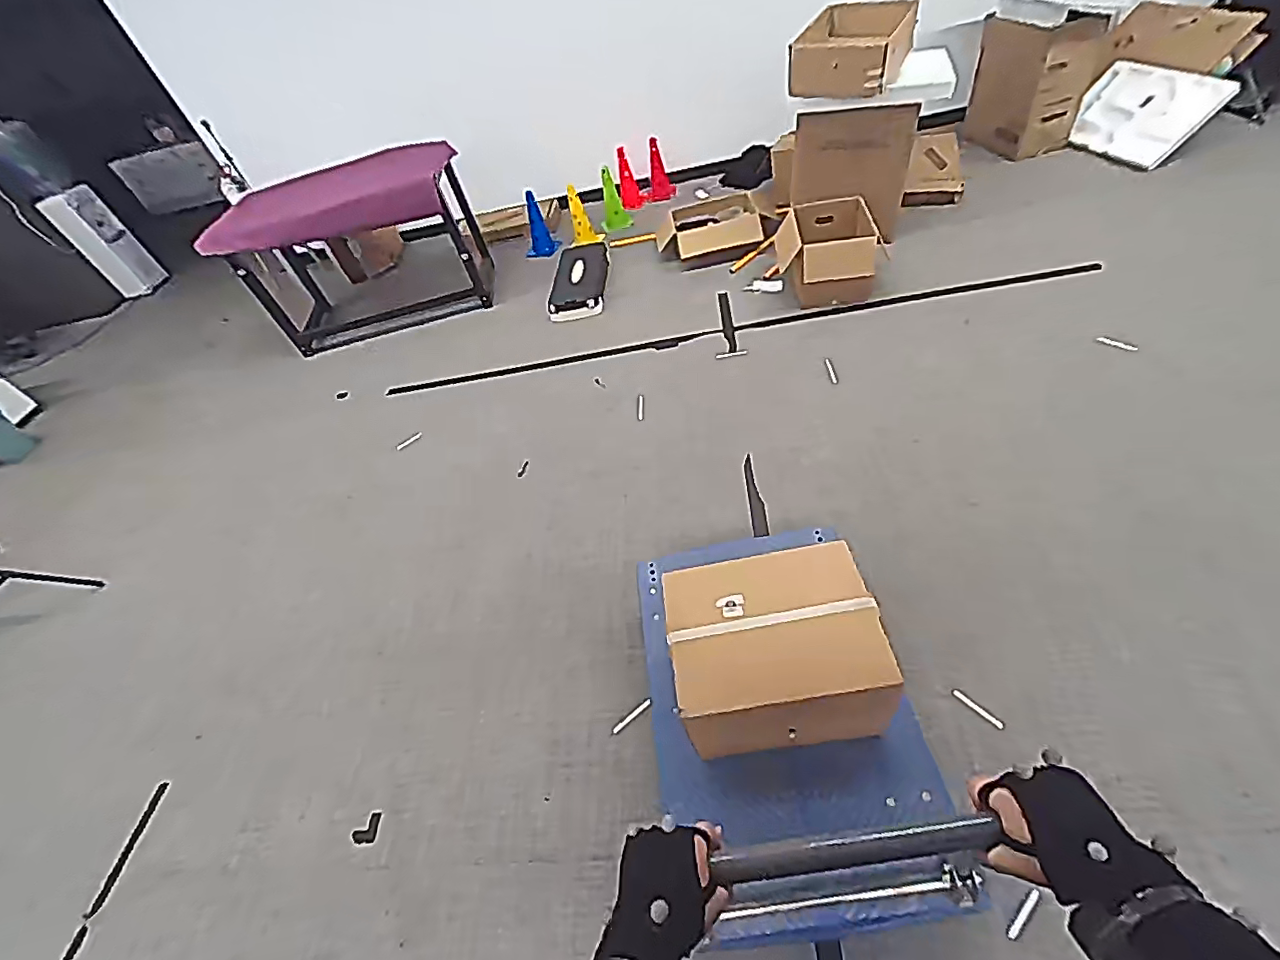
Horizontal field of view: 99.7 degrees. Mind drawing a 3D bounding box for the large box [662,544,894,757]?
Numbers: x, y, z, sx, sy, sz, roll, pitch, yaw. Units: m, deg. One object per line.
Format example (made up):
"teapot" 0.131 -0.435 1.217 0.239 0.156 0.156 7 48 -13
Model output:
"large box" 0.288 0.388 1.204 0.408 0.320 0.320 -13 47 6
